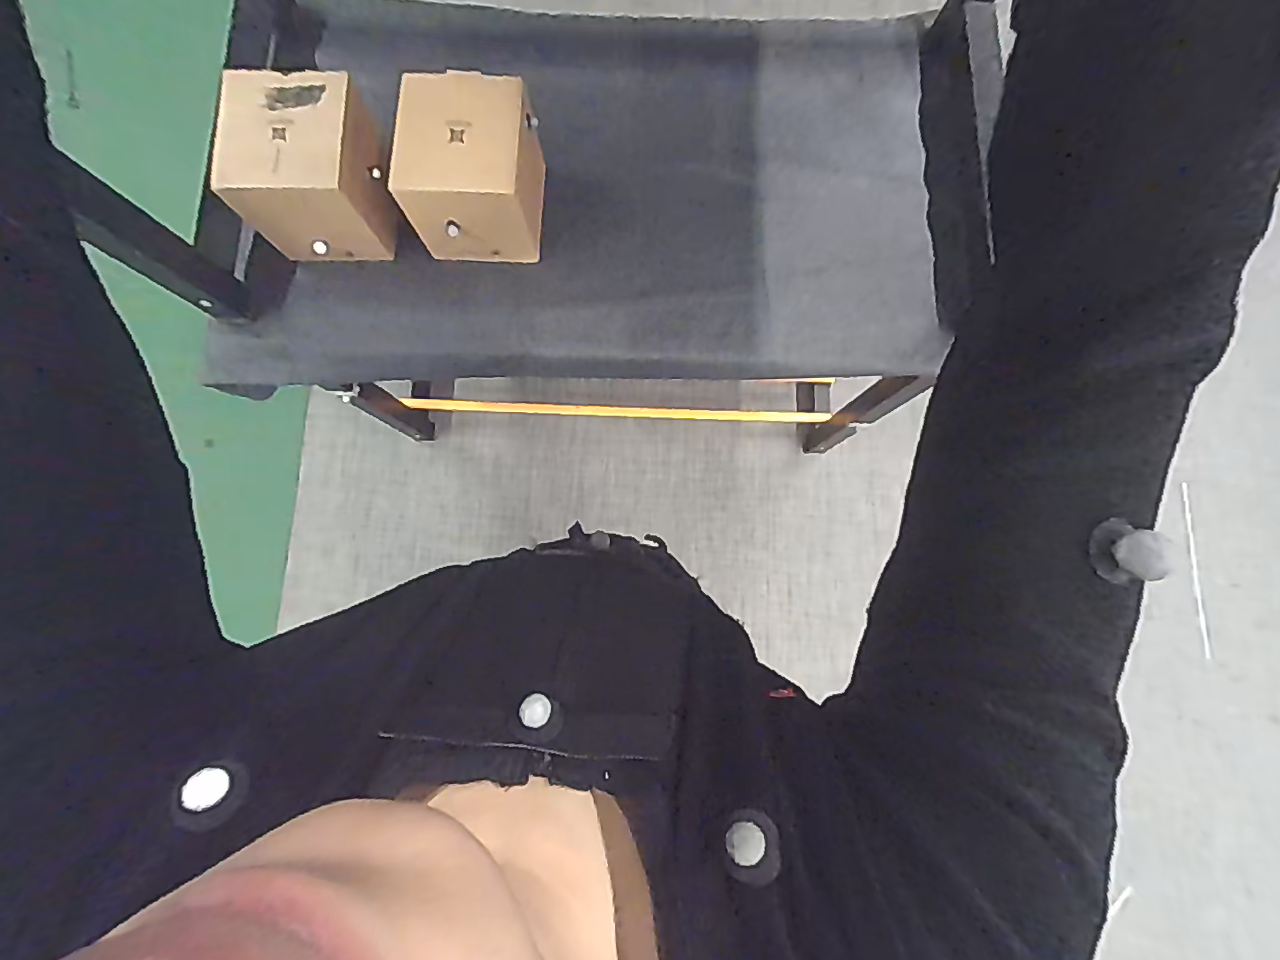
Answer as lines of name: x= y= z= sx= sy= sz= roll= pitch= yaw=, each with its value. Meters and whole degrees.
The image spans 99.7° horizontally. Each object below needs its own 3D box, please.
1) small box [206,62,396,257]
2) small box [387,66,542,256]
small box: x=-0.465 y=-0.447 z=0.773 sx=0.168 sy=0.176 sz=0.179 roll=0 pitch=81 yaw=-1
small box: x=-0.238 y=-0.445 z=0.777 sx=0.168 sy=0.176 sz=0.179 roll=2 pitch=80 yaw=0
